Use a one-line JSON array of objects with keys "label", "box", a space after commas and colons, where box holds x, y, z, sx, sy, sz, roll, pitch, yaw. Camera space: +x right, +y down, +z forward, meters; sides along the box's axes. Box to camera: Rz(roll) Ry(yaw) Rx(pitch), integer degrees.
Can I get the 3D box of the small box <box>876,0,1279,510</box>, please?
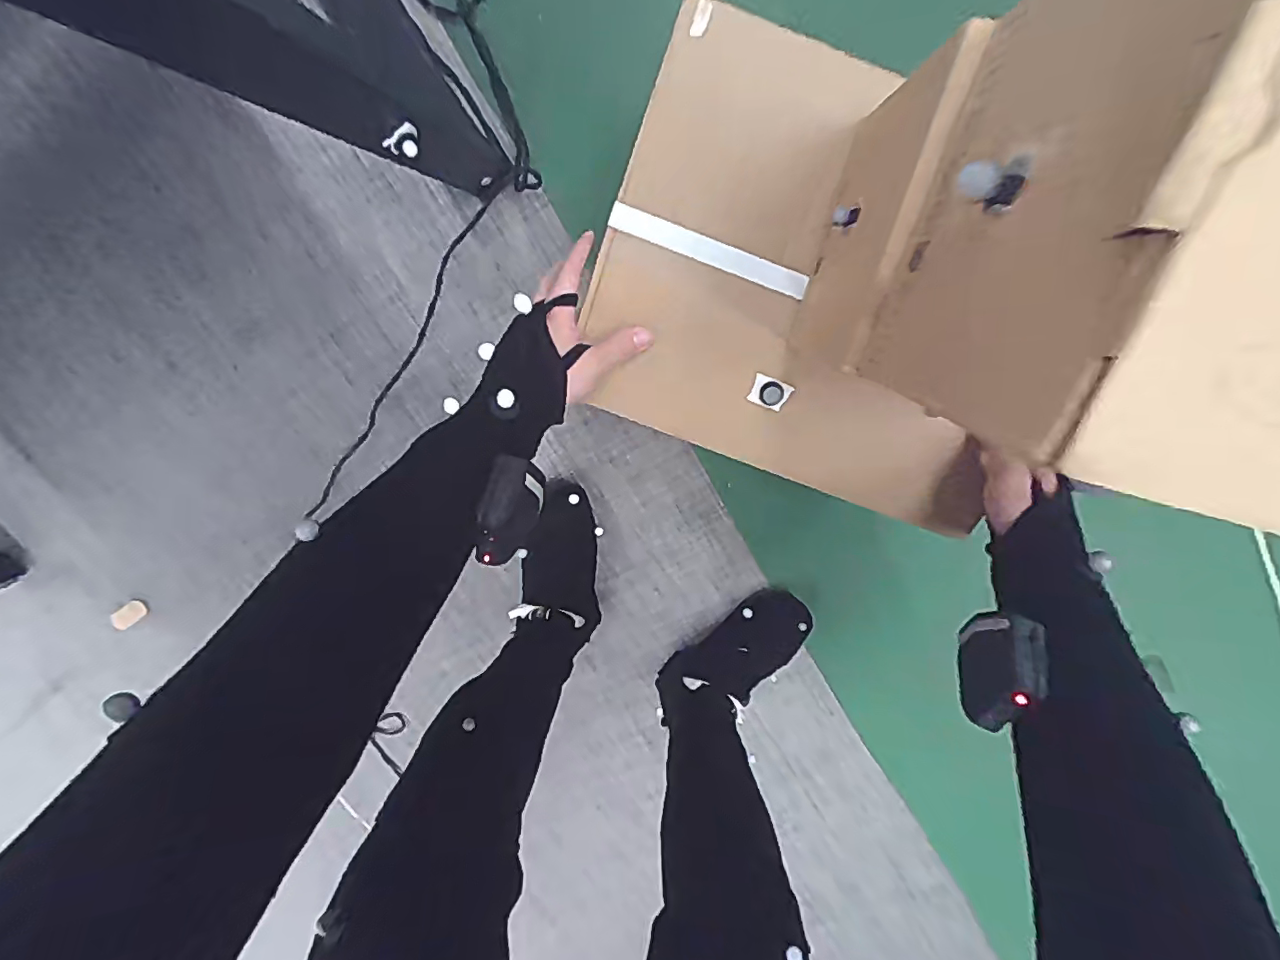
[{"label": "small box", "box": [0.216, -0.086, 0.197, 0.179, 0.176, 0.168, 16, 110, 0]}]
